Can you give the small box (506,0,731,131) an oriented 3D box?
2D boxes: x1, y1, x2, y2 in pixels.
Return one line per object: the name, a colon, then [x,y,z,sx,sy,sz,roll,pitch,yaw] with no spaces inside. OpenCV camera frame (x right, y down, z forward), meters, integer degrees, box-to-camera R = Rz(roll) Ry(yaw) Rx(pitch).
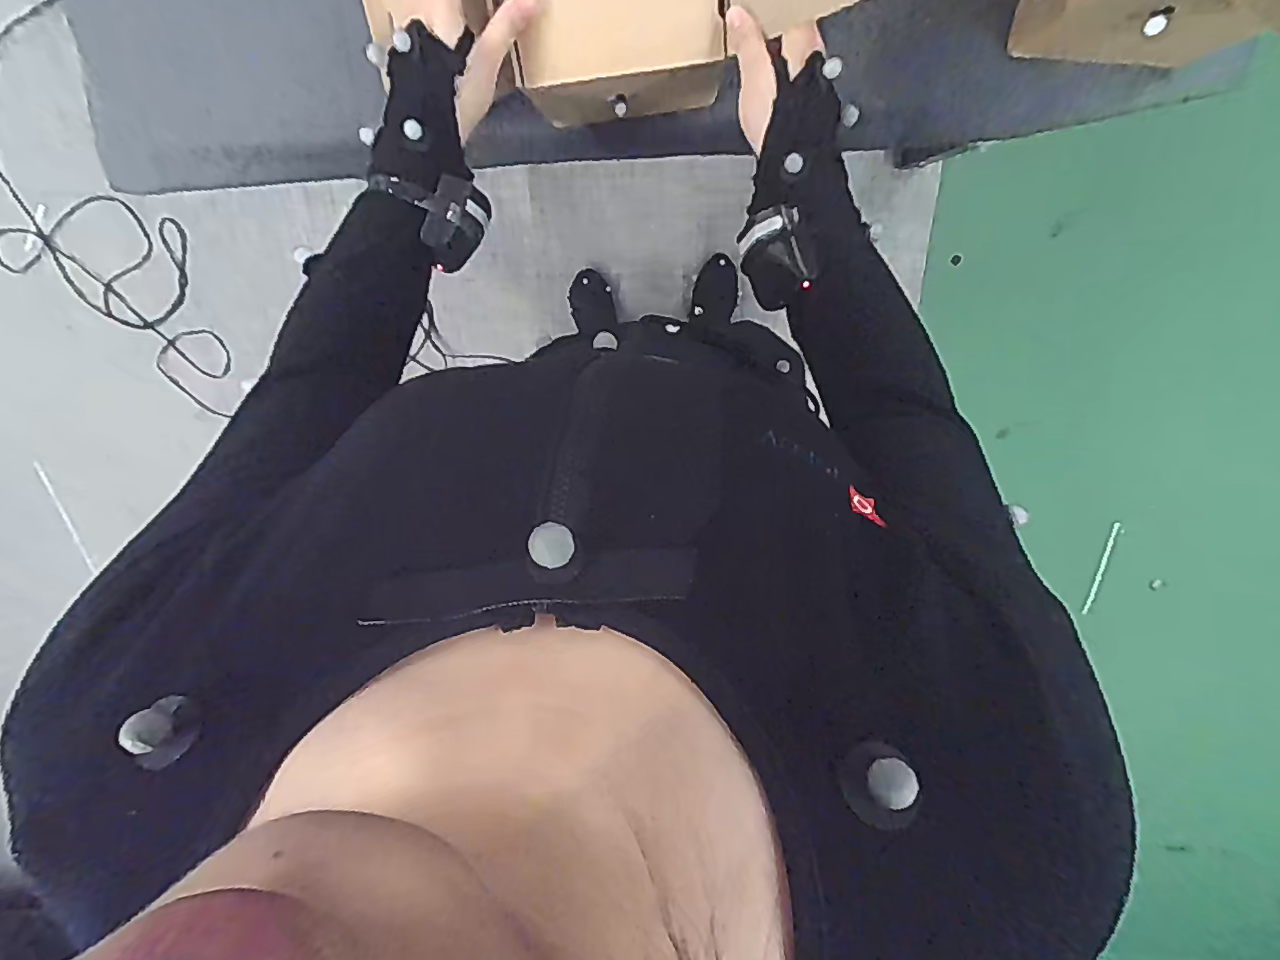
small box: [-0.017,-0.430,0.484,0.179,0.176,0.168,-4,113,6]
